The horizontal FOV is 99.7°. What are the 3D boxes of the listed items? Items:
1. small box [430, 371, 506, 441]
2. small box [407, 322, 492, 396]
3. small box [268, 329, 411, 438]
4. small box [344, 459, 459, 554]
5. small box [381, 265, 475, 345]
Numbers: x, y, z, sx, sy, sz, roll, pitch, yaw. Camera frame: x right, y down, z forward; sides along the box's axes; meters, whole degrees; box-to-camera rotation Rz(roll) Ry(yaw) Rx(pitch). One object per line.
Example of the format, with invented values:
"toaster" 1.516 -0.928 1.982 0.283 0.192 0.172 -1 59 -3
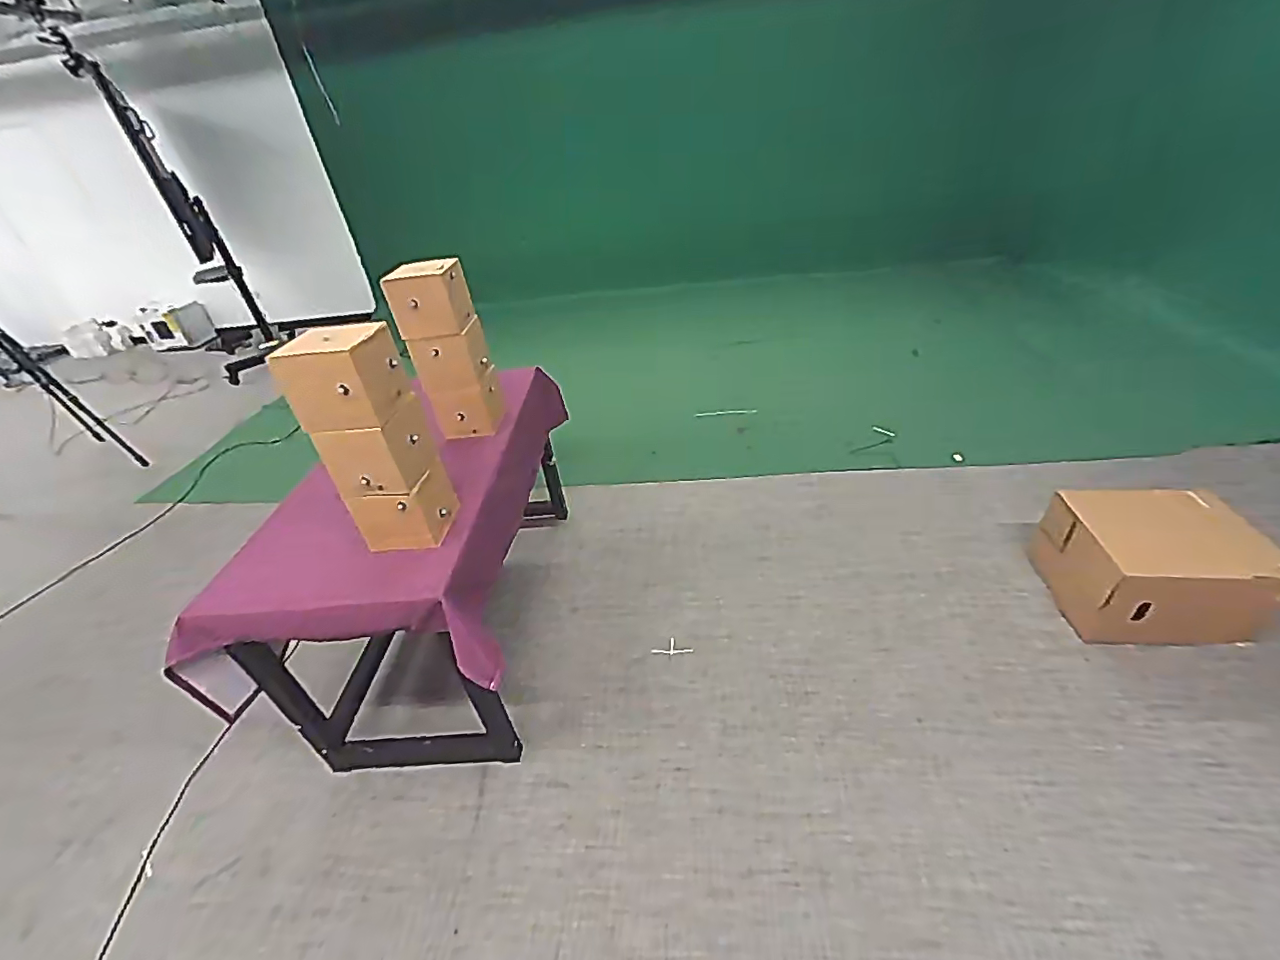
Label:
"small box" -0.545 -0.234 1.743 0.168 0.176 0.179 -4 35 6
"small box" -0.574 -0.367 1.651 0.179 0.176 0.168 -6 35 4
"small box" -0.615 -0.202 1.136 0.179 0.176 0.168 -4 34 7
"small box" -0.569 0.067 1.318 0.179 0.176 0.168 -4 34 6
"small box" -0.603 -0.502 1.561 0.179 0.176 0.168 -6 36 6
